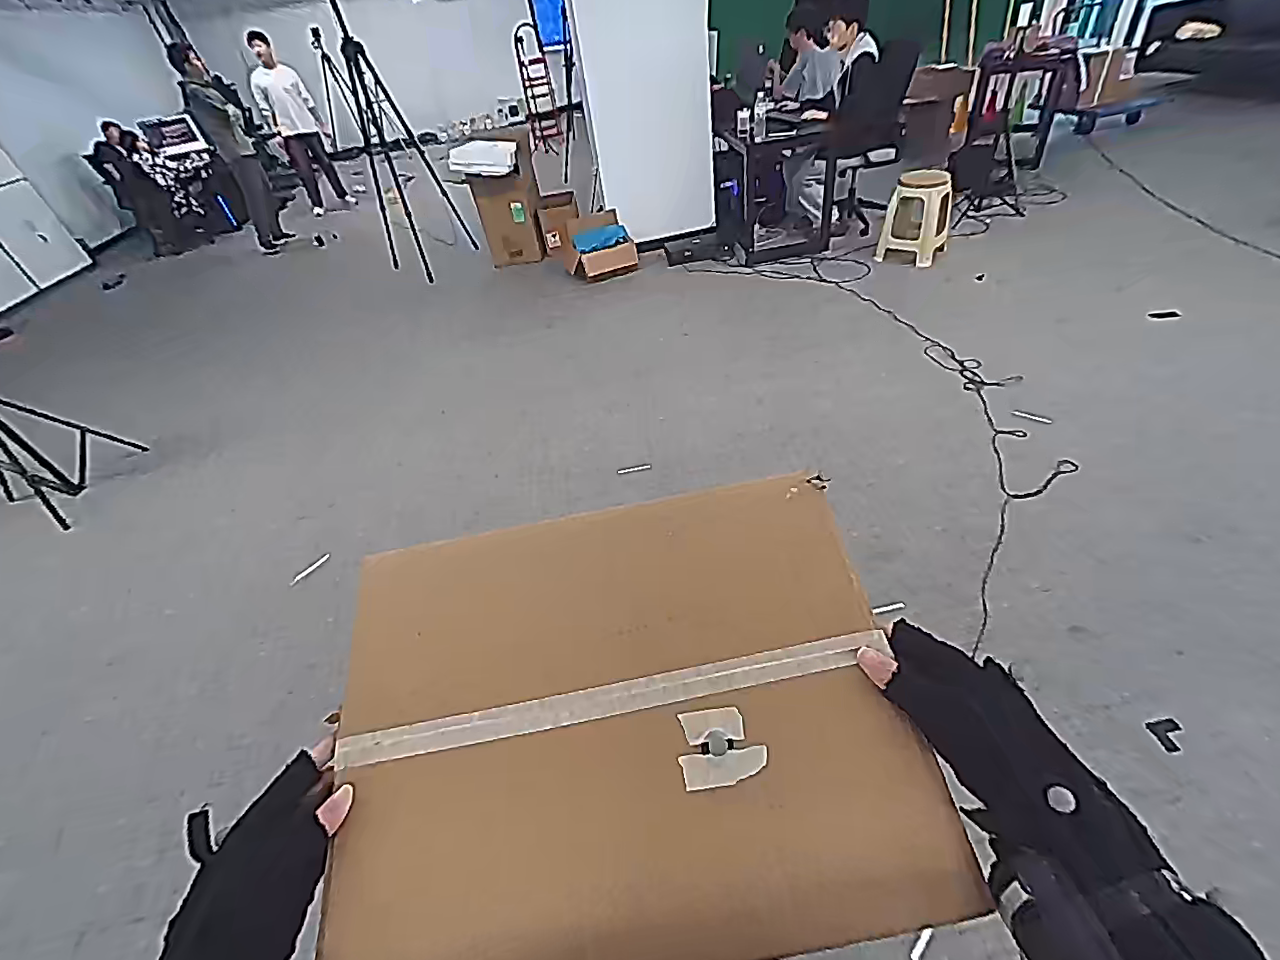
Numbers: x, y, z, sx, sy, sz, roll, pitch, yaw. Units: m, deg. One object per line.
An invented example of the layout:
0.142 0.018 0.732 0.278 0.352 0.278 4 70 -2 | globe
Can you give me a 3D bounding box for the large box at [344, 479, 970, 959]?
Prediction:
-0.002 0.242 0.533 0.408 0.320 0.320 -11 59 -1 | large box
